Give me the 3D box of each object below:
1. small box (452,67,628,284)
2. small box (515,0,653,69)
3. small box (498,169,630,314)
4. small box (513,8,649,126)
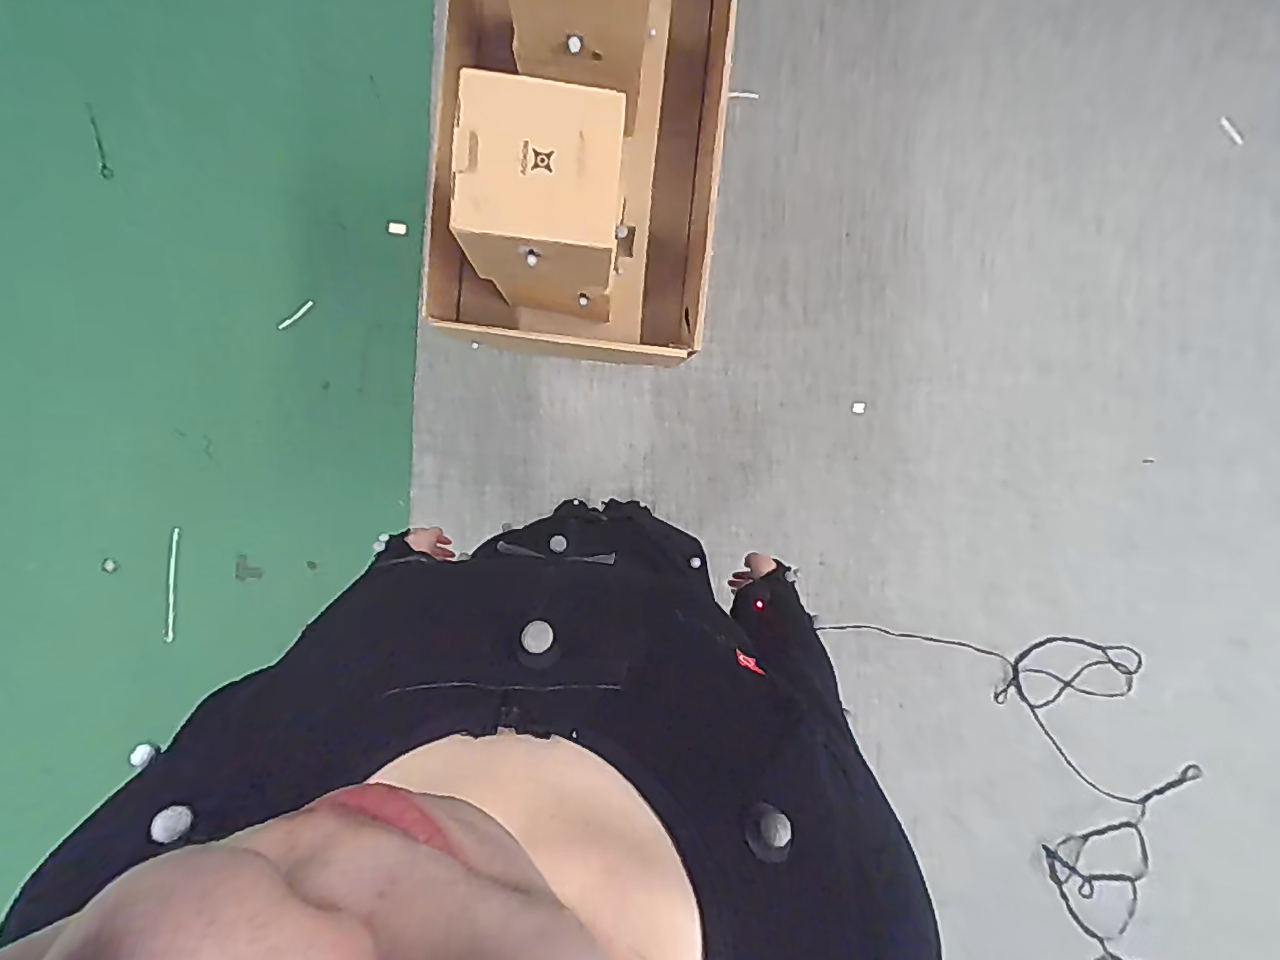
[{"bbox_3d":[-0.114,-0.348,0.653,0.179,0.176,0.168,4,94,-7],"label":"small box"},{"bbox_3d":[-0.061,-0.636,0.630,0.168,0.176,0.179,5,96,-6],"label":"small box"},{"bbox_3d":[-0.119,-0.362,0.815,0.179,0.176,0.168,9,93,-7],"label":"small box"},{"bbox_3d":[-0.078,-0.655,0.793,0.179,0.176,0.168,6,95,-5],"label":"small box"}]
